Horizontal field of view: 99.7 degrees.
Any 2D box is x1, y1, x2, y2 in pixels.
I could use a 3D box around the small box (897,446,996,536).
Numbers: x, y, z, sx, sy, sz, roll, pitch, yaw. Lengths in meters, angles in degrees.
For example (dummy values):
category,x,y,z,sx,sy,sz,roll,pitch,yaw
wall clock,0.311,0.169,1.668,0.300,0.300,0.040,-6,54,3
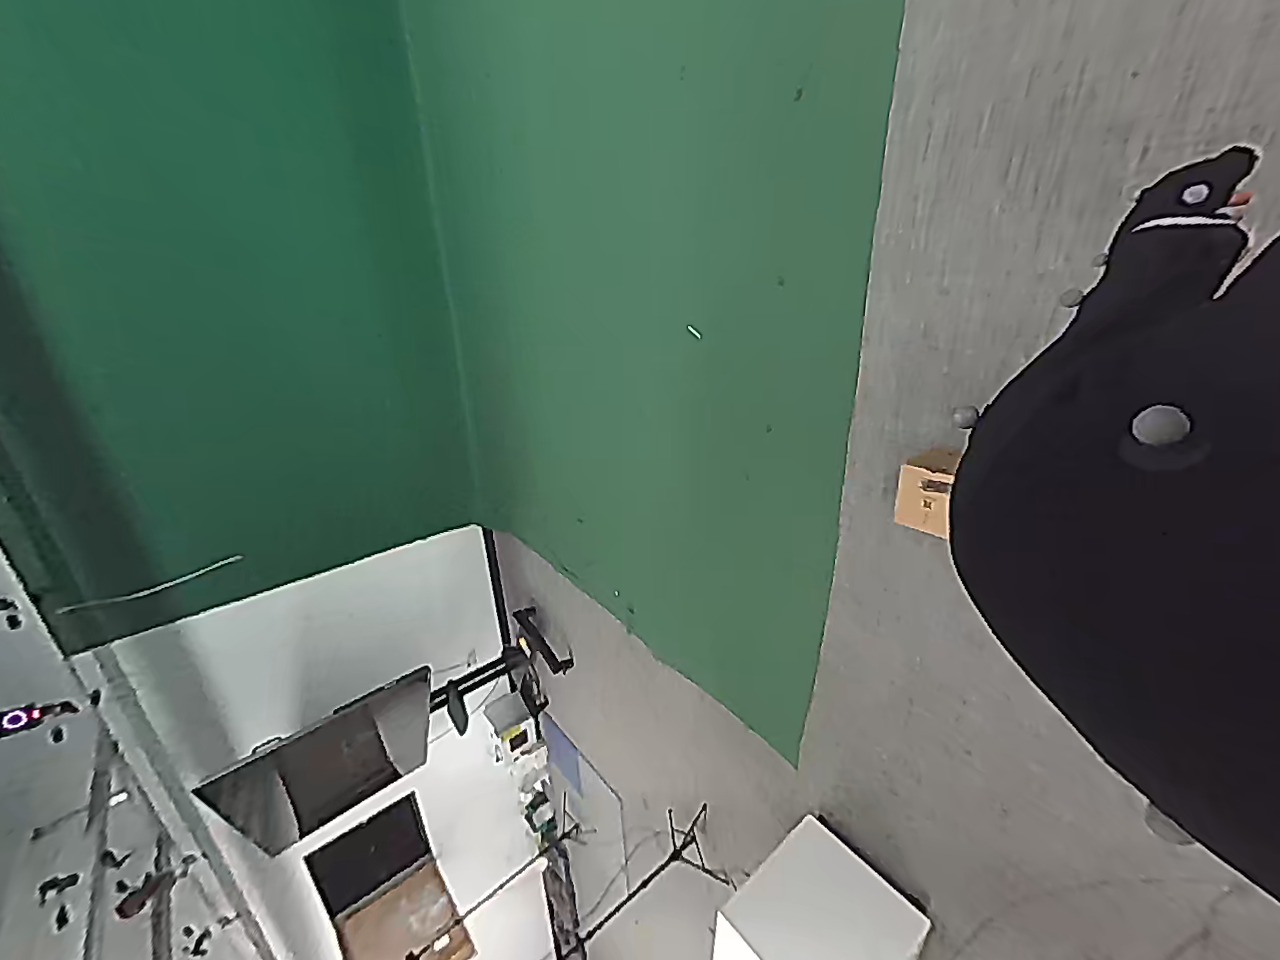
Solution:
category,x,y,z,sx,sy,sz,roll,pitch,yaw
small box,0.810,0.020,1.429,0.168,0.176,0.179,23,124,48
